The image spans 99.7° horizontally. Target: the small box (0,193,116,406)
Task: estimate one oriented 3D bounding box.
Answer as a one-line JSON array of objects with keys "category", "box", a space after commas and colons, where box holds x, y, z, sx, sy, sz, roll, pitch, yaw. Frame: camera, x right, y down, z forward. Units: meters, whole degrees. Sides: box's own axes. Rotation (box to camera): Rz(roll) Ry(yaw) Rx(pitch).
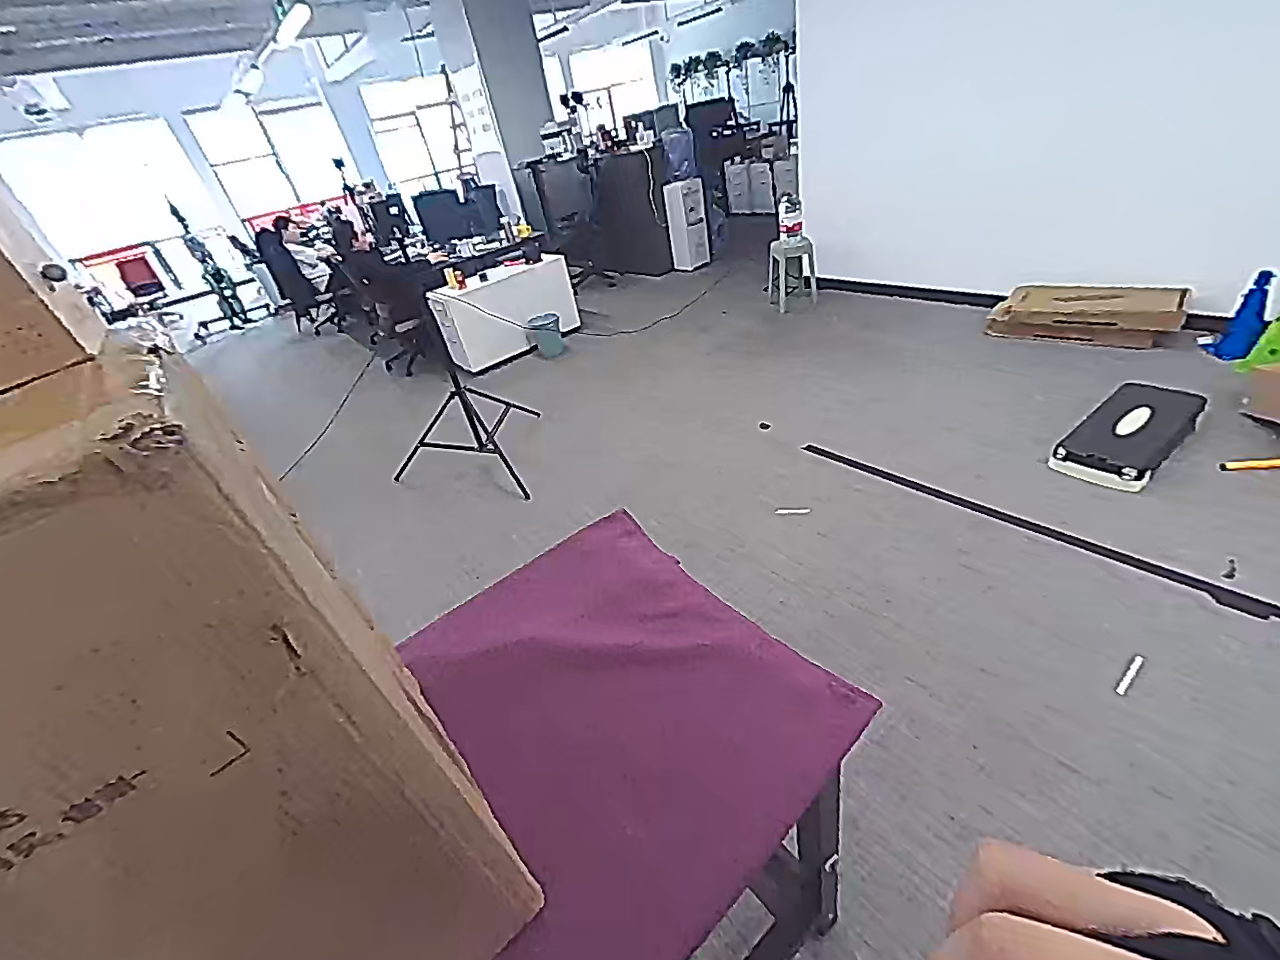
[{"category": "small box", "box": [-0.501, -0.122, 0.344, 0.179, 0.176, 0.168, -33, 38, -27]}]
